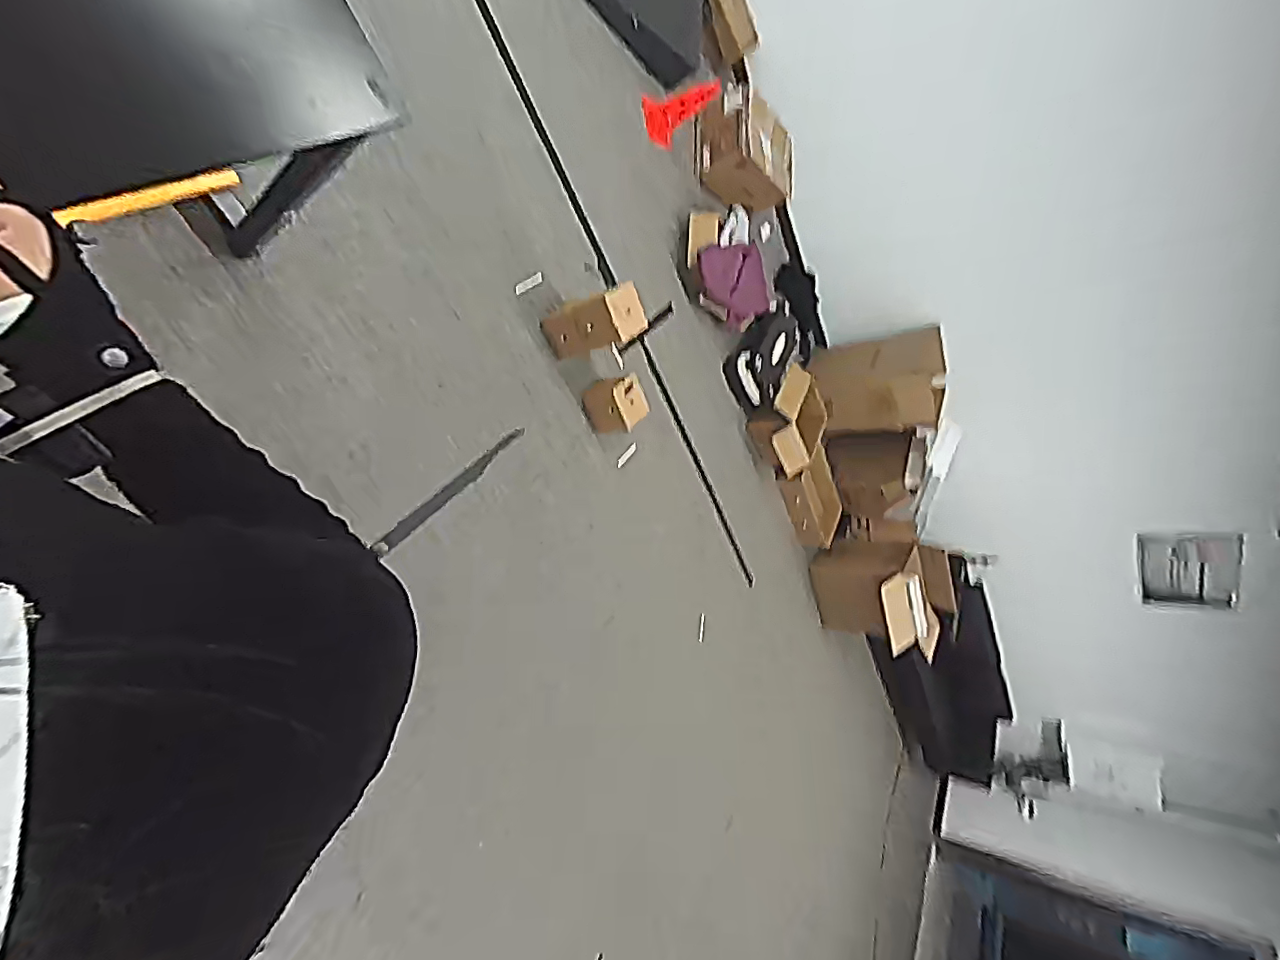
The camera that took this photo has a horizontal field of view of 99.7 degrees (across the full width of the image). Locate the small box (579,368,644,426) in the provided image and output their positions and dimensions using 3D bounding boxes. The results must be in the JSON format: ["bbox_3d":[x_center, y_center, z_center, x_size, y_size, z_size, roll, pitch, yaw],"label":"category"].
[{"bbox_3d":[-0.118,-0.332,2.195,0.168,0.176,0.179,-48,124,-40],"label":"small box"}]

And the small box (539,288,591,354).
[{"bbox_3d":[-0.256,-0.597,2.044,0.179,0.176,0.168,-52,125,-38],"label":"small box"}]

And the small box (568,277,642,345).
[{"bbox_3d":[-0.126,-0.605,1.941,0.179,0.176,0.168,-46,121,-41],"label":"small box"}]
